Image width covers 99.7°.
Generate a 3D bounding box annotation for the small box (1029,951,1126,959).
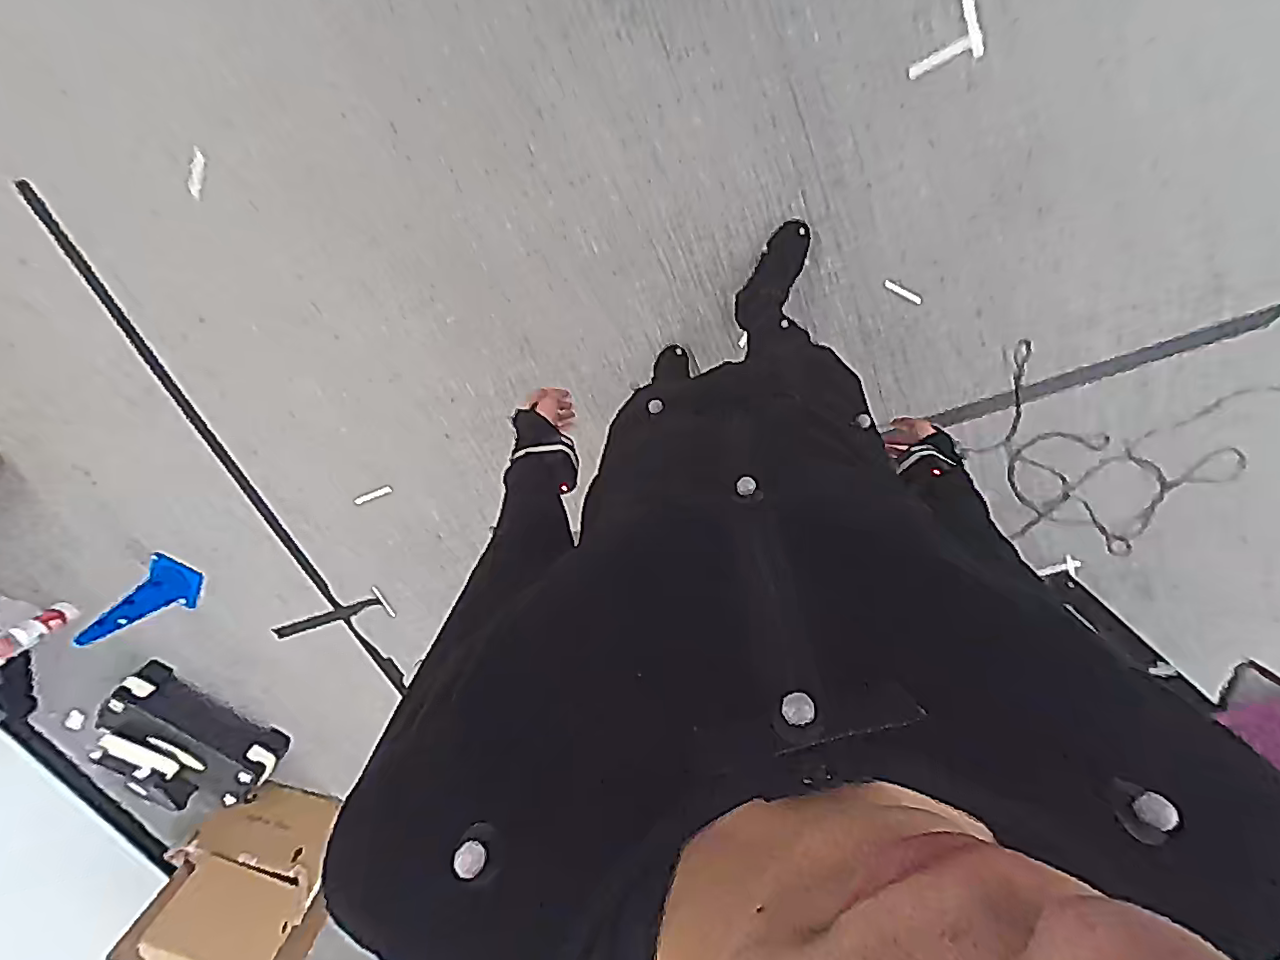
[{"bbox_3d":[0.839,0.997,0.980,0.179,0.176,0.168,-17,110,13],"label":"small box"}]
